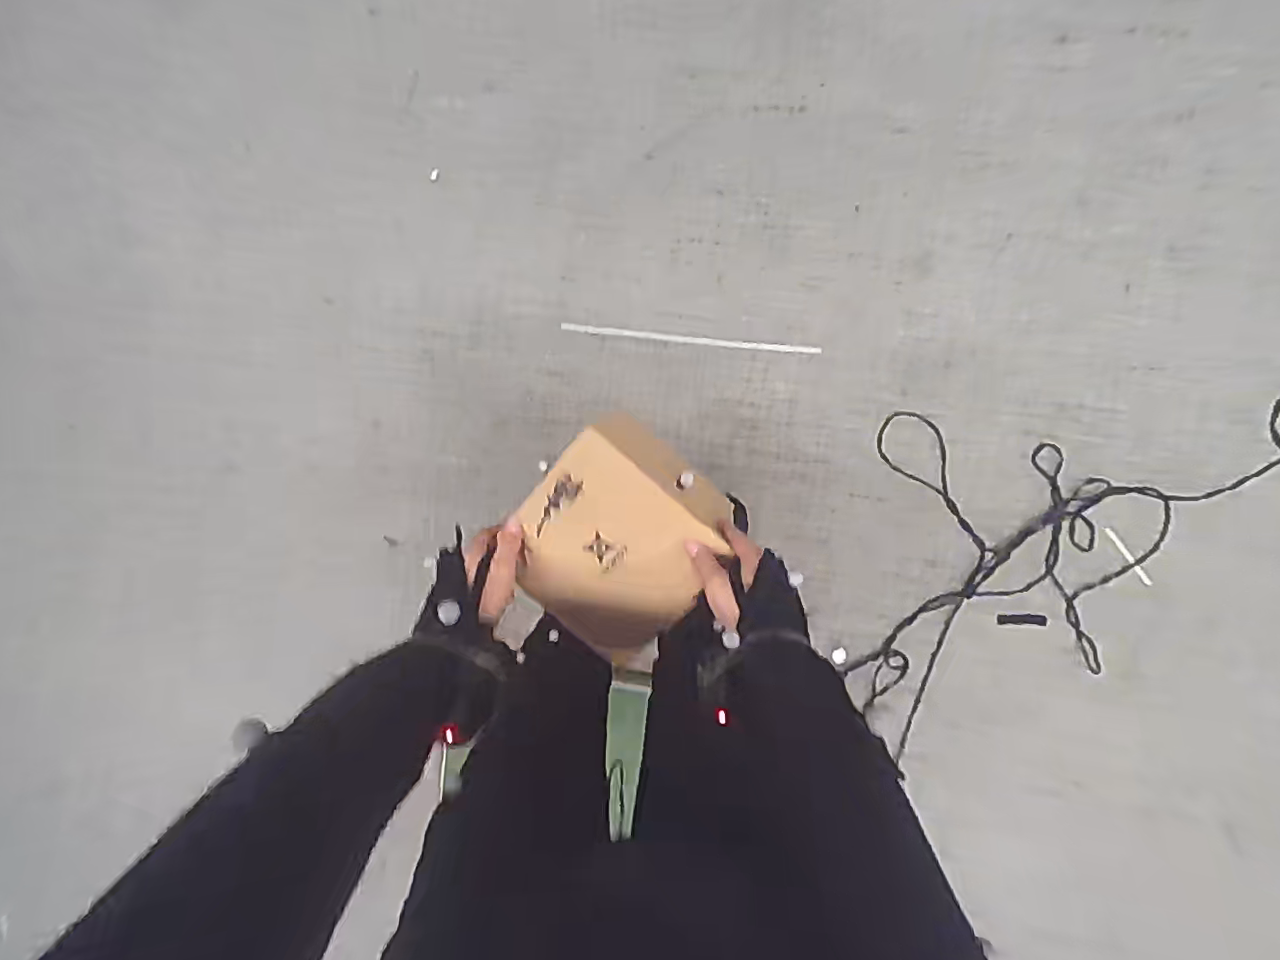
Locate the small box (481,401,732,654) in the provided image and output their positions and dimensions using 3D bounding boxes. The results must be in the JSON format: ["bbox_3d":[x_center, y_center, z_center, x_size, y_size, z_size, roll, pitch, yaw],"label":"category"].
[{"bbox_3d":[-0.024,0.036,0.567,0.179,0.176,0.168,41,106,-6],"label":"small box"}]
